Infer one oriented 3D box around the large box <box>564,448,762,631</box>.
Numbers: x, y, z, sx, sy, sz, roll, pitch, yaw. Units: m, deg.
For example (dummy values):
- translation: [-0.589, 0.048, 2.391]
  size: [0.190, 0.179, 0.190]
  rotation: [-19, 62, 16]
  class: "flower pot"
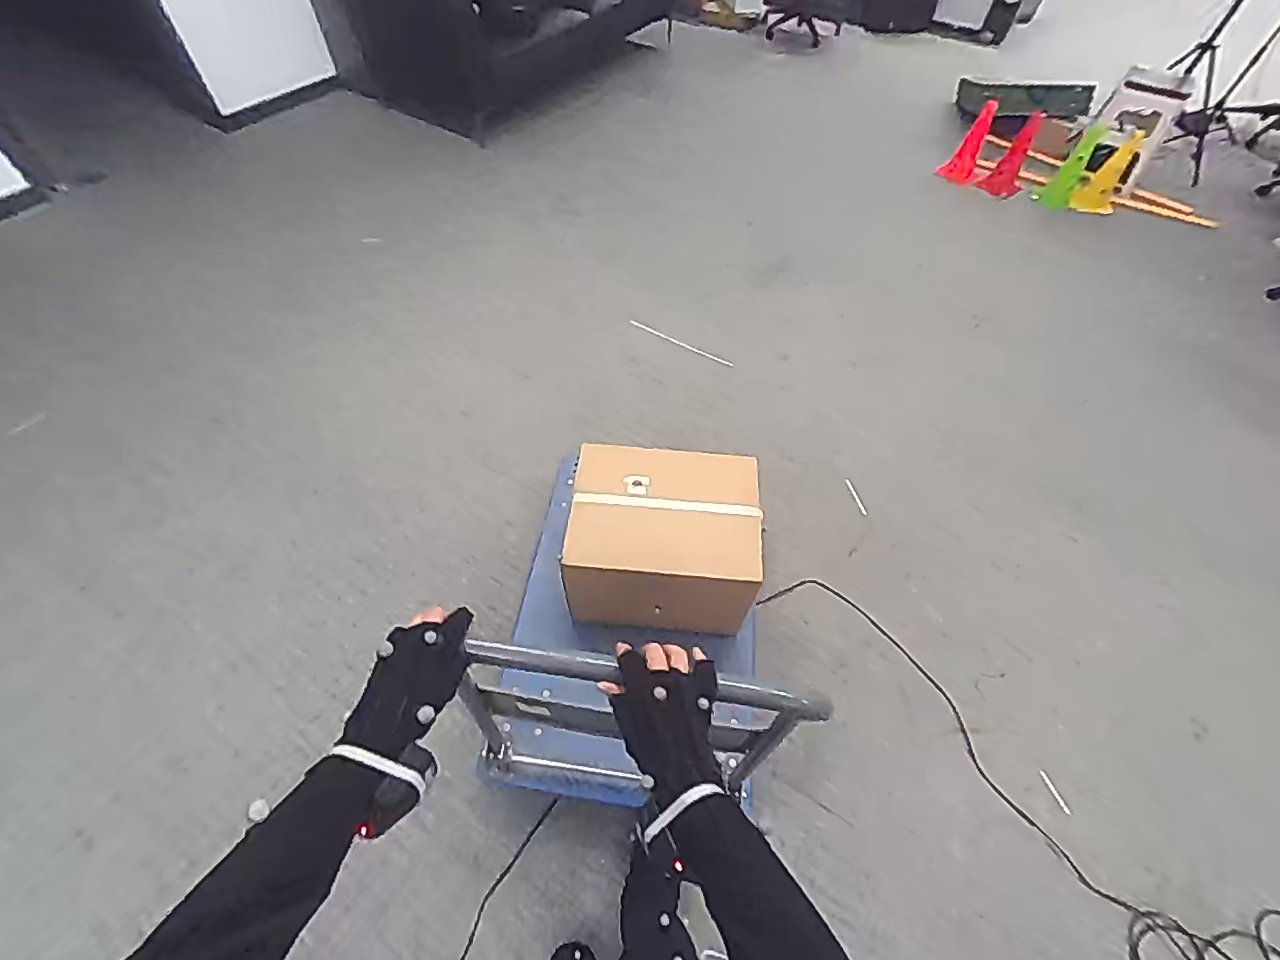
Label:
- translation: [0.056, 0.148, 1.283]
  size: [0.408, 0.320, 0.320]
  rotation: [5, 54, 2]
  class: "large box"
